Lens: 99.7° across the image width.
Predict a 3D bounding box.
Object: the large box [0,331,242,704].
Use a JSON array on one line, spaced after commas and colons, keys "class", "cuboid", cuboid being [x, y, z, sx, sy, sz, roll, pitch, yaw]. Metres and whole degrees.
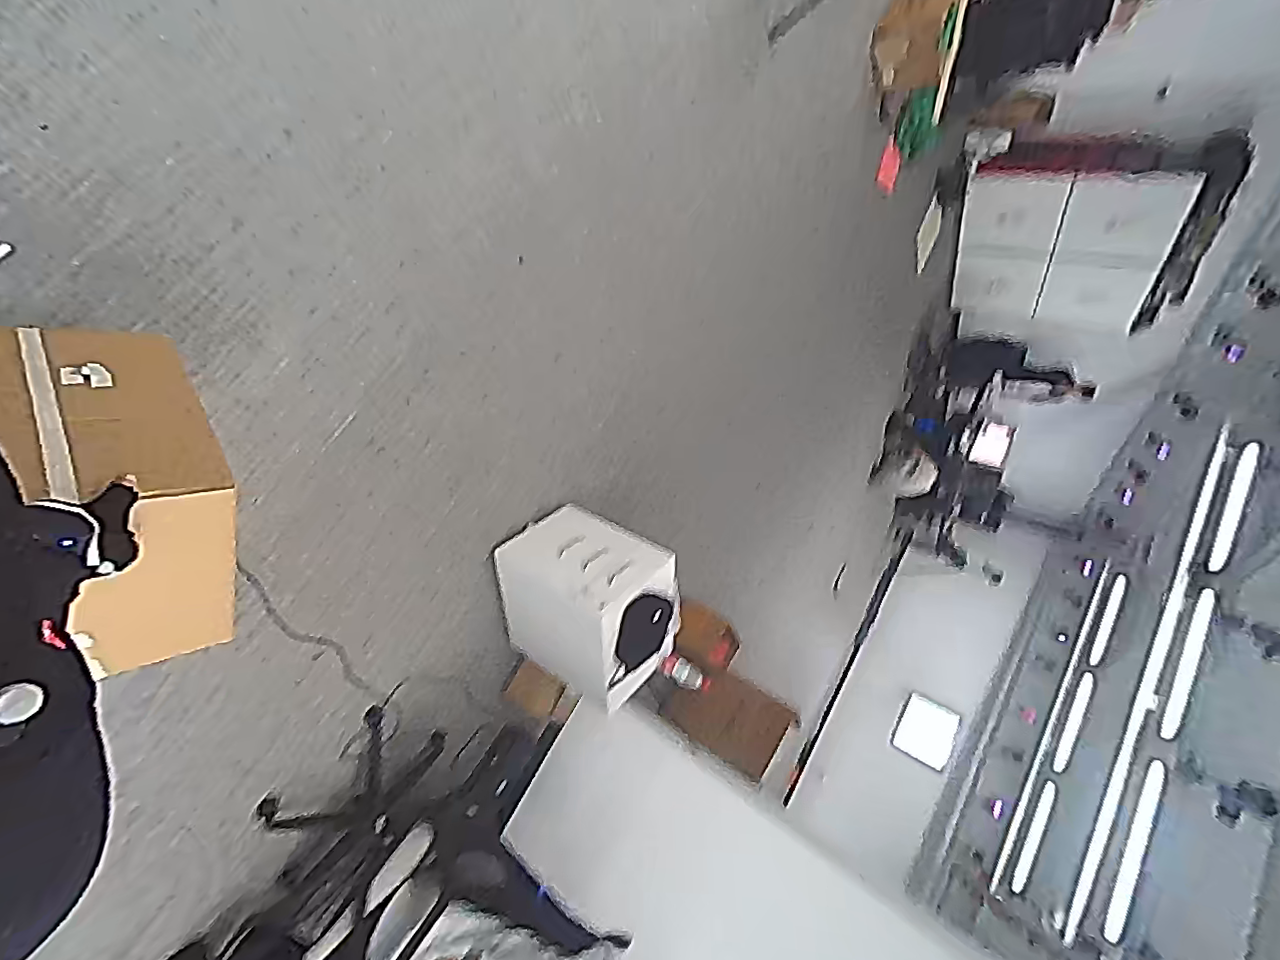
[{"class": "large box", "cuboid": [-0.813, 0.028, 0.761, 0.320, 0.408, 0.320, -15, 138, -46]}]
